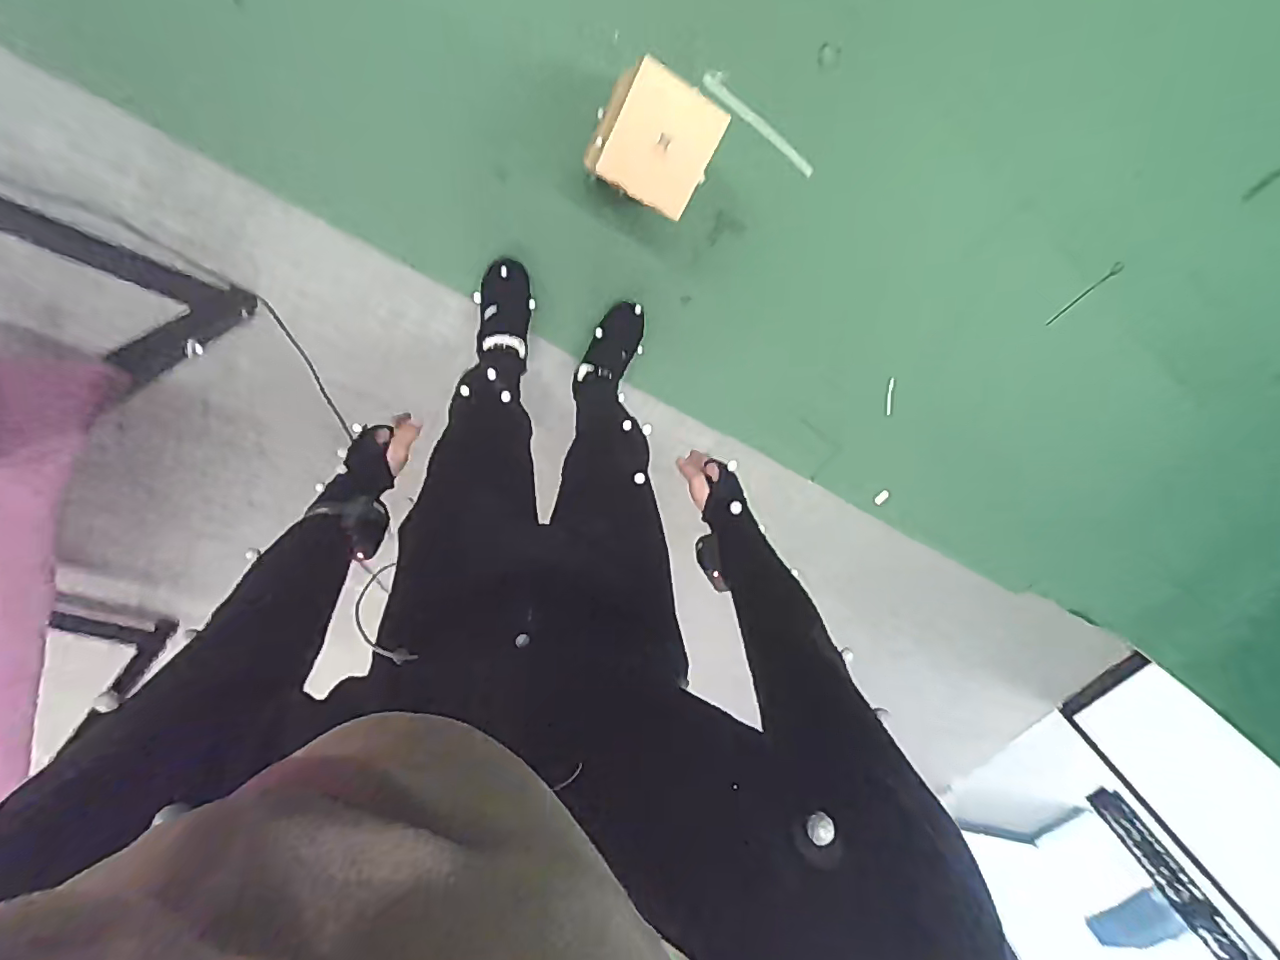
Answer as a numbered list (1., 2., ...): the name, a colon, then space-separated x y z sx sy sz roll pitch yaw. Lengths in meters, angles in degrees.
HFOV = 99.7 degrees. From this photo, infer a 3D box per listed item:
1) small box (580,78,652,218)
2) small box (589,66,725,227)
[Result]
1. small box: -0.013 -0.665 1.095 0.168 0.176 0.179 23 115 -22
2. small box: 0.018 -0.584 0.957 0.168 0.176 0.179 21 117 -22
